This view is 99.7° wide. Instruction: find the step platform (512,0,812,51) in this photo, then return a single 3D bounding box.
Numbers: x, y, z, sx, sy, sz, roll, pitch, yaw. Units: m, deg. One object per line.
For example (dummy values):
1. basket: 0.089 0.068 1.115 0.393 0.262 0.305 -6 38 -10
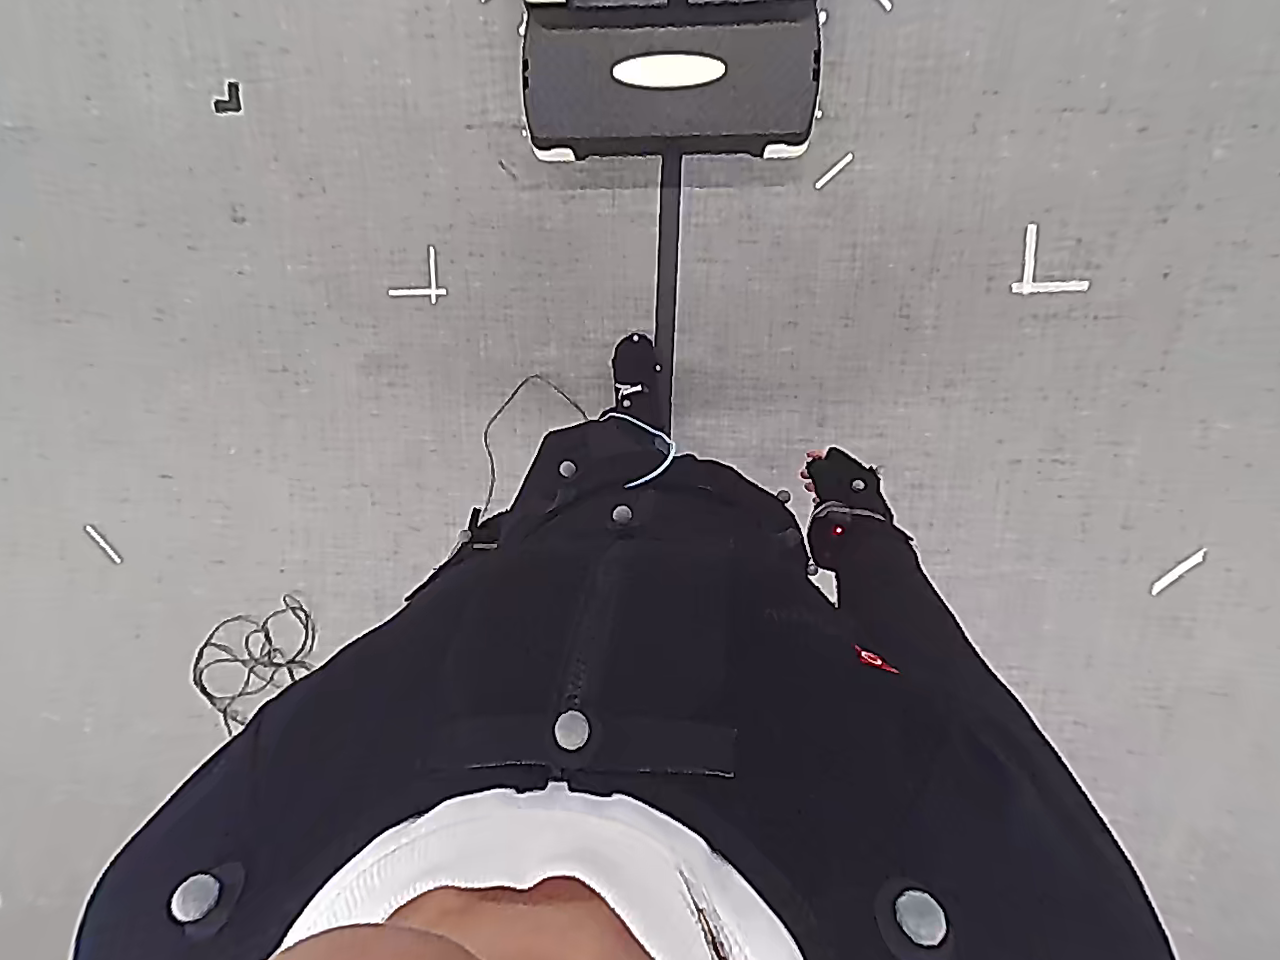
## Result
1. step platform: 0.047 -1.158 1.172 0.684 0.204 0.286 0 98 3
